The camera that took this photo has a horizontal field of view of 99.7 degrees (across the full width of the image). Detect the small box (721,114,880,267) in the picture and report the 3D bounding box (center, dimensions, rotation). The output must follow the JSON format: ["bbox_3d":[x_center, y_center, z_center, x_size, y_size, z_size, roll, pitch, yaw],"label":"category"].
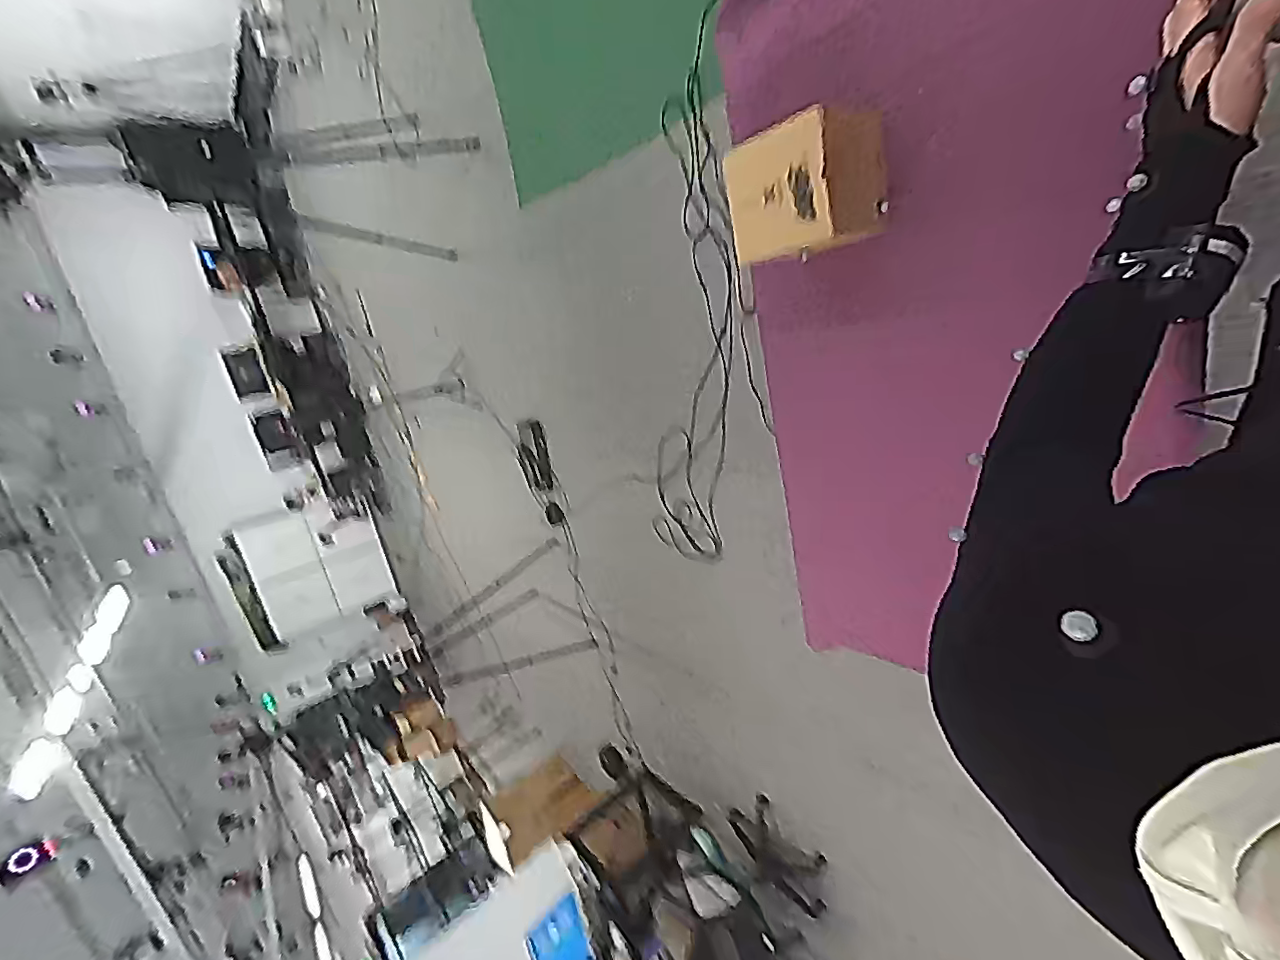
[{"bbox_3d":[0.258,-0.446,0.848,0.179,0.176,0.168,8,115,52],"label":"small box"}]
